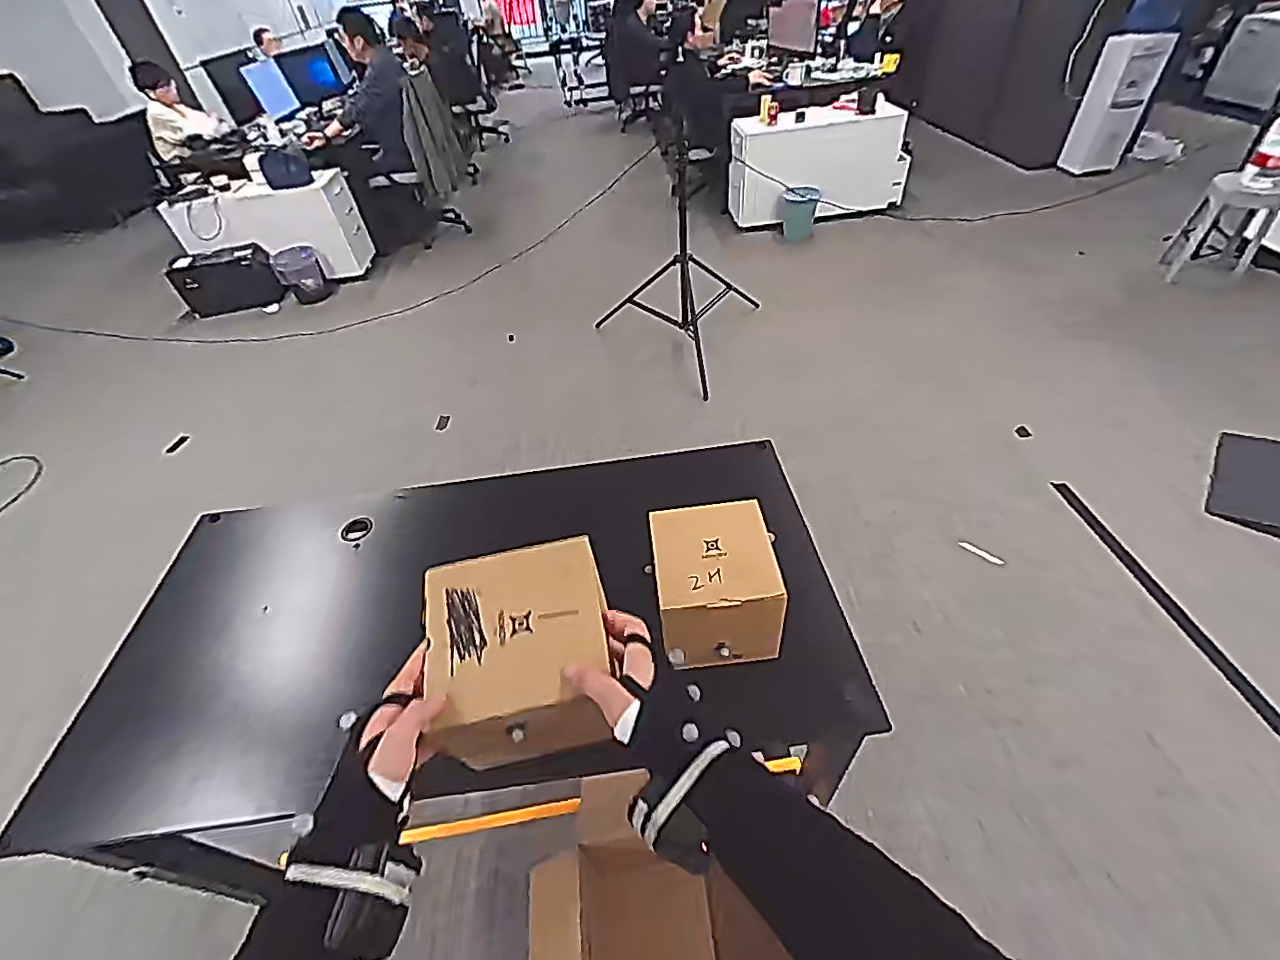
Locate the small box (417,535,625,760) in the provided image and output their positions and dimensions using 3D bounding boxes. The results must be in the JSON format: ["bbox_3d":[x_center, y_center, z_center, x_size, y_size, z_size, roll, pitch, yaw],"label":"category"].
[{"bbox_3d":[-0.121,0.187,0.588,0.179,0.176,0.168,-12,53,-5],"label":"small box"}]

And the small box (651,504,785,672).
[{"bbox_3d":[0.108,0.161,0.807,0.168,0.176,0.179,-7,44,1],"label":"small box"}]
